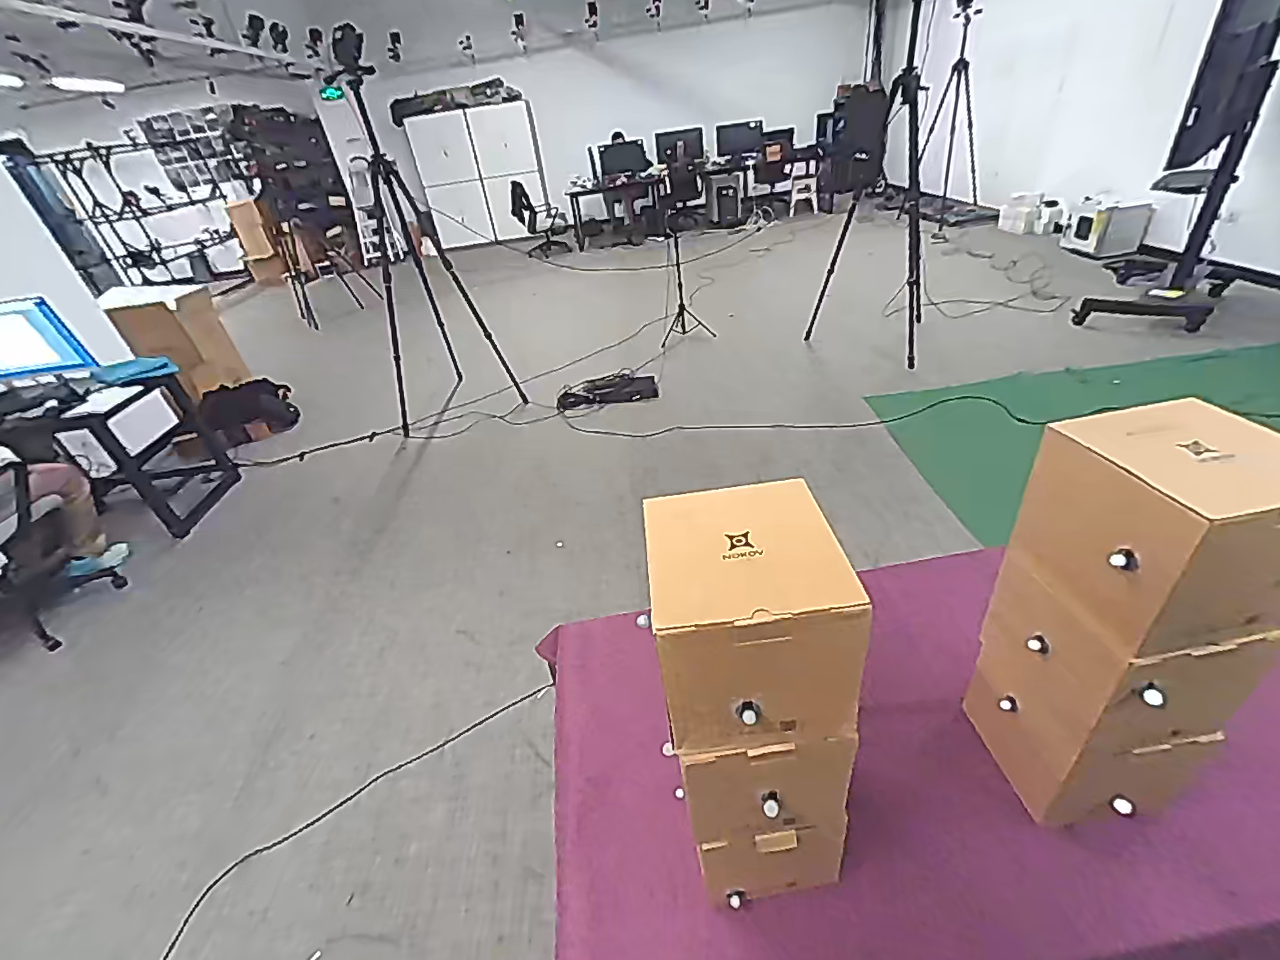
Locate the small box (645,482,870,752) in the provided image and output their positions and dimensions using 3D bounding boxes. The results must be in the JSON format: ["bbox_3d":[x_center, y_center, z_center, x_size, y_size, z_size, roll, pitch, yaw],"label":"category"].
[{"bbox_3d":[0.097,0.126,0.517,0.168,0.176,0.179,-8,34,2],"label":"small box"}]

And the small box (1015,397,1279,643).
[{"bbox_3d":[0.522,0.041,0.535,0.168,0.176,0.179,-10,33,-2],"label":"small box"}]

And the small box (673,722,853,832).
[{"bbox_3d":[0.119,0.264,0.603,0.168,0.176,0.179,-9,35,0],"label":"small box"}]

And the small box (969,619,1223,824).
[{"bbox_3d":[0.570,0.313,0.712,0.168,0.176,0.179,-9,34,1],"label":"small box"}]

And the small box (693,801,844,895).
[{"bbox_3d":[0.145,0.398,0.694,0.168,0.176,0.179,-10,33,-2],"label":"small box"}]
